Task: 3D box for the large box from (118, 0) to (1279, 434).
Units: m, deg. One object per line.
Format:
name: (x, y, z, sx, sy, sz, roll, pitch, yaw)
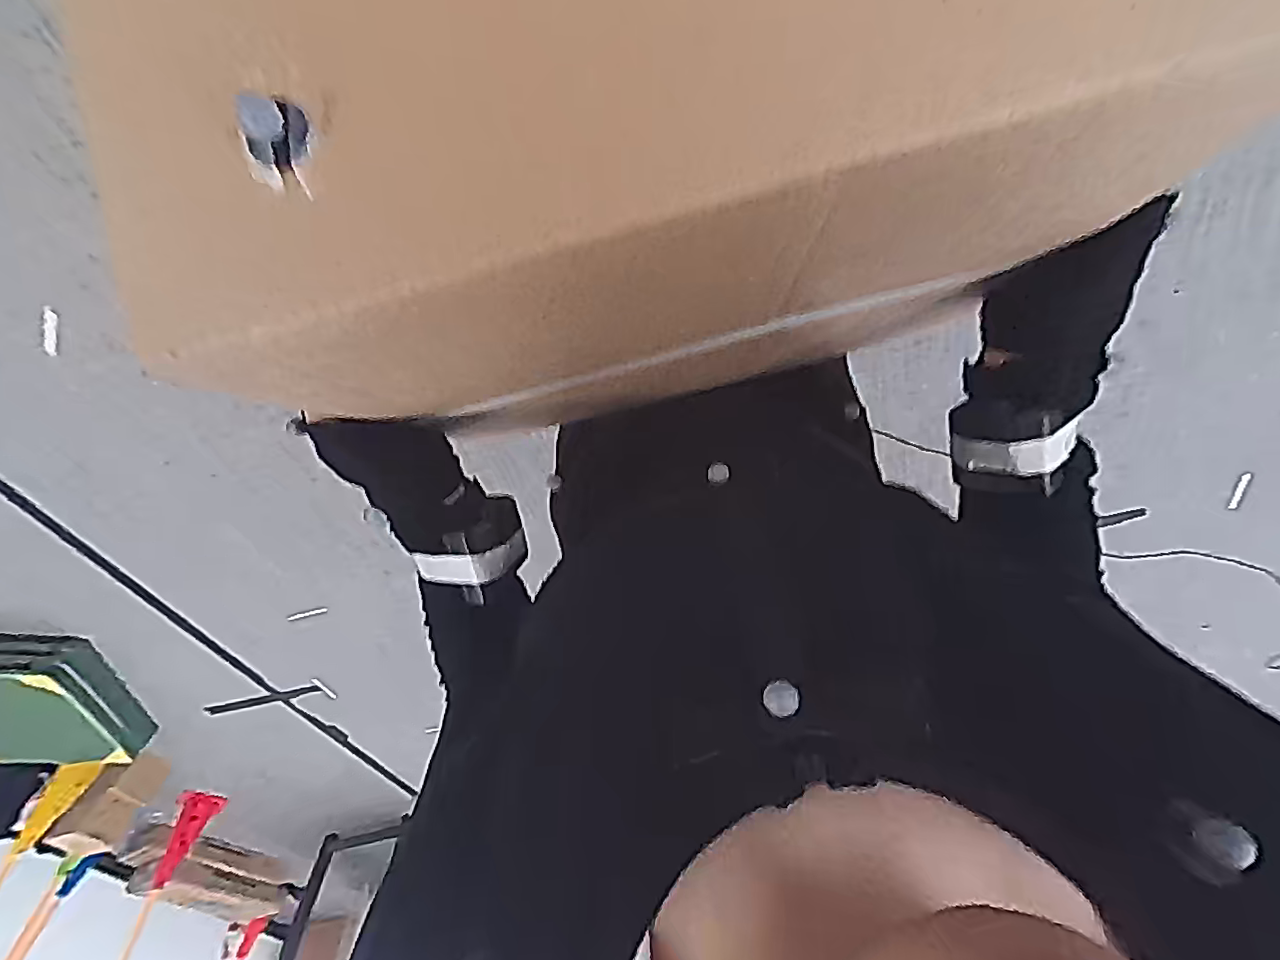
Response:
large box: (0.003, -0.239, 0.333, 0.408, 0.320, 0.320, -13, 88, 4)
